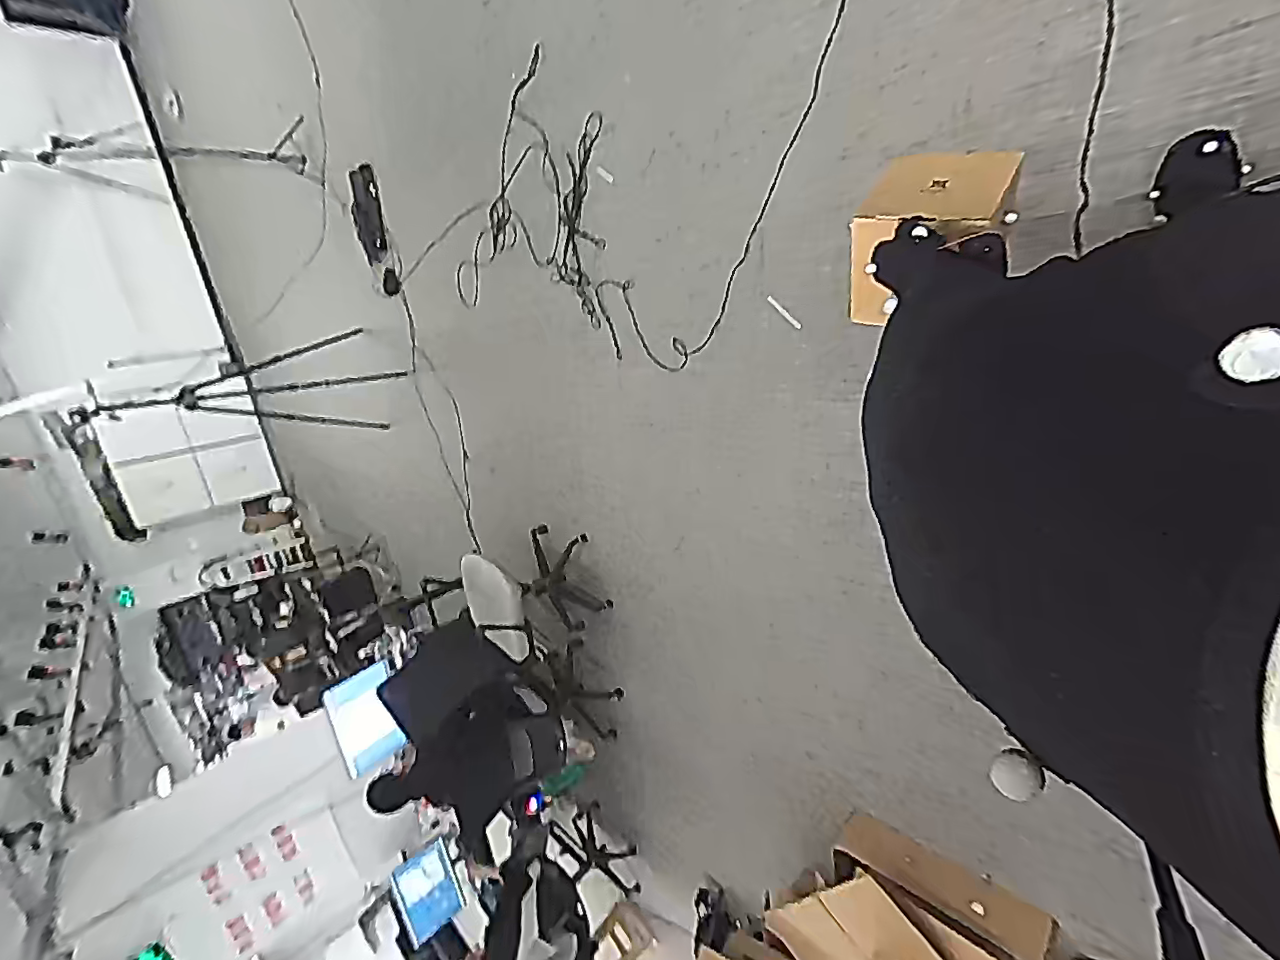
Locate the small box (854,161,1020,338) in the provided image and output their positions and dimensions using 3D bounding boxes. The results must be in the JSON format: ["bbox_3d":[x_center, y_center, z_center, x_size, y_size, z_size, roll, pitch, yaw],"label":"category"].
[{"bbox_3d":[0.423,-0.336,0.789,0.168,0.179,0.176,18,149,33],"label":"small box"}]
